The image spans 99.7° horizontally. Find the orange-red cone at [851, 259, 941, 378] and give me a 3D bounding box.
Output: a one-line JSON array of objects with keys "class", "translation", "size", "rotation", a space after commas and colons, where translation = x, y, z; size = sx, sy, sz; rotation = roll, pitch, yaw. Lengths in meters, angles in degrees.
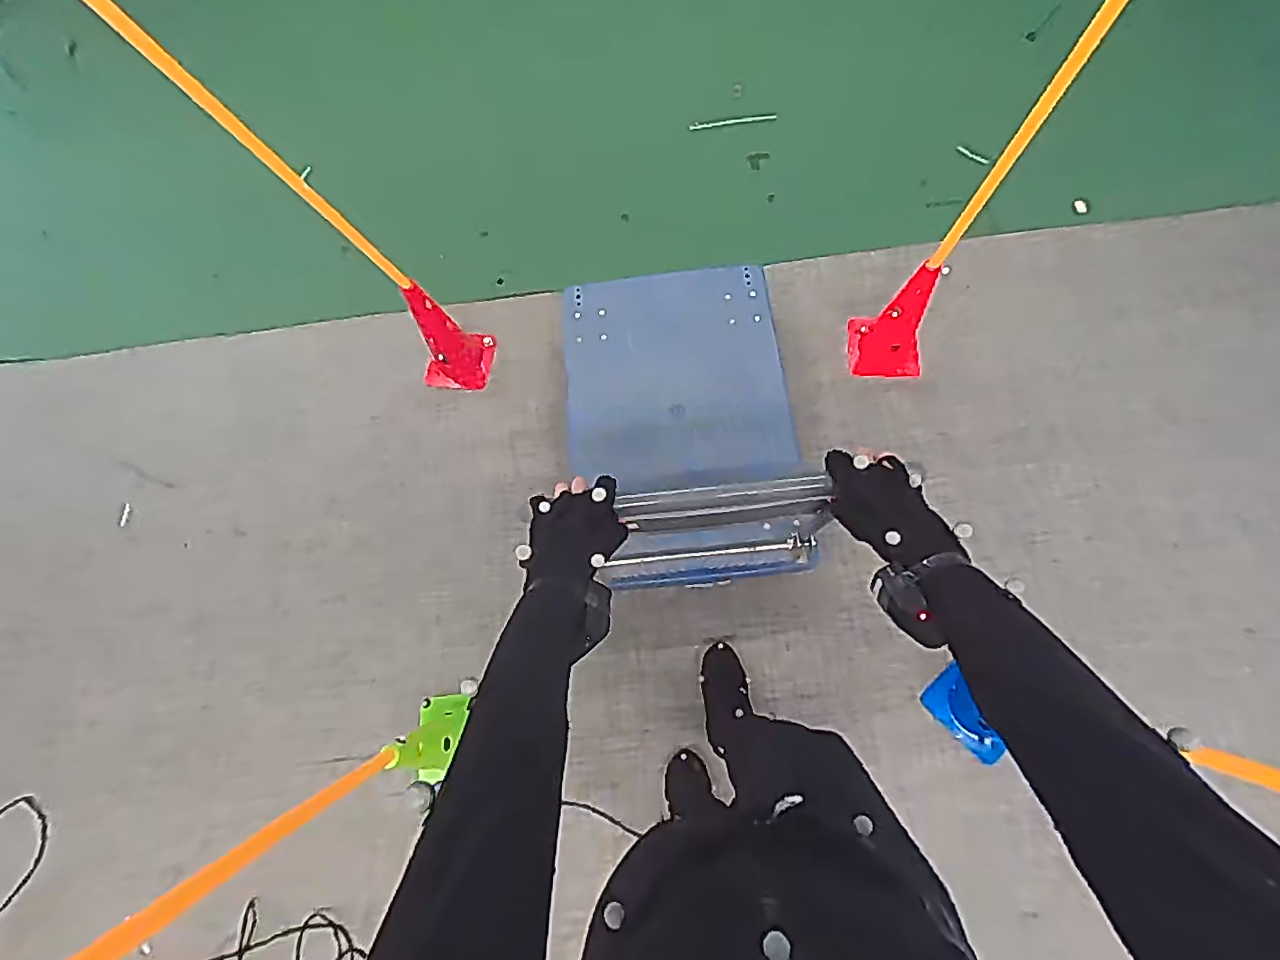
[{"class": "orange-red cone", "translation": [0.708, -0.446, 1.435], "size": [0.198, 0.360, 0.199], "rotation": [4, 71, 7]}]
